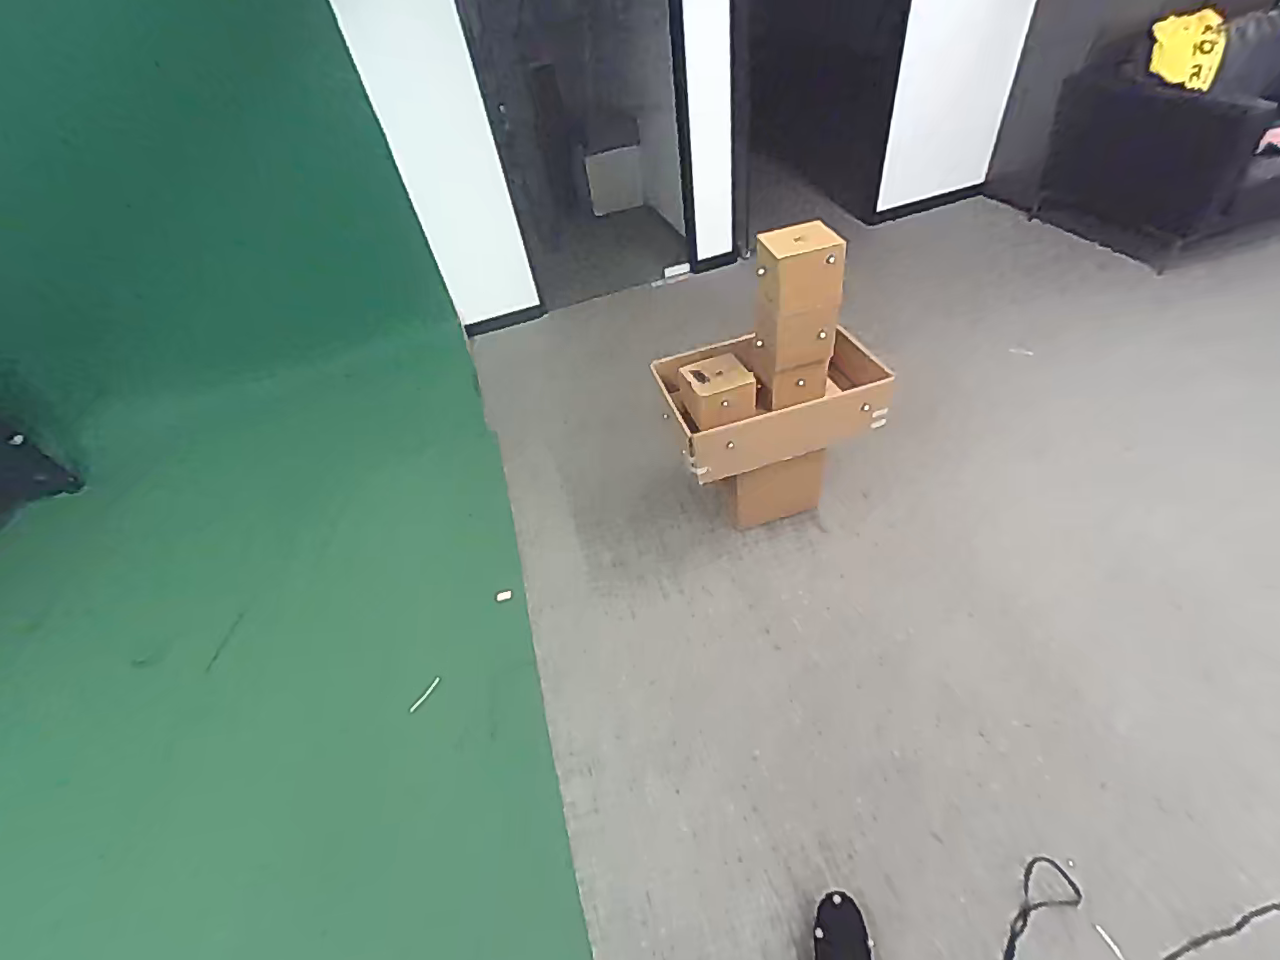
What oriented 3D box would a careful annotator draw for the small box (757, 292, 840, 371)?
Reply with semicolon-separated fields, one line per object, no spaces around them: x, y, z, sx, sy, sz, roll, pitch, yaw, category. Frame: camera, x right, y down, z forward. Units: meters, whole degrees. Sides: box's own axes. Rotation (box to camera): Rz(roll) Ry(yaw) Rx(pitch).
0.443;-0.438;1.537;0.179;0.176;0.168;-15;45;-1;small box

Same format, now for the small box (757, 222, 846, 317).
0.420;-0.551;1.424;0.179;0.176;0.168;-14;44;-1;small box
